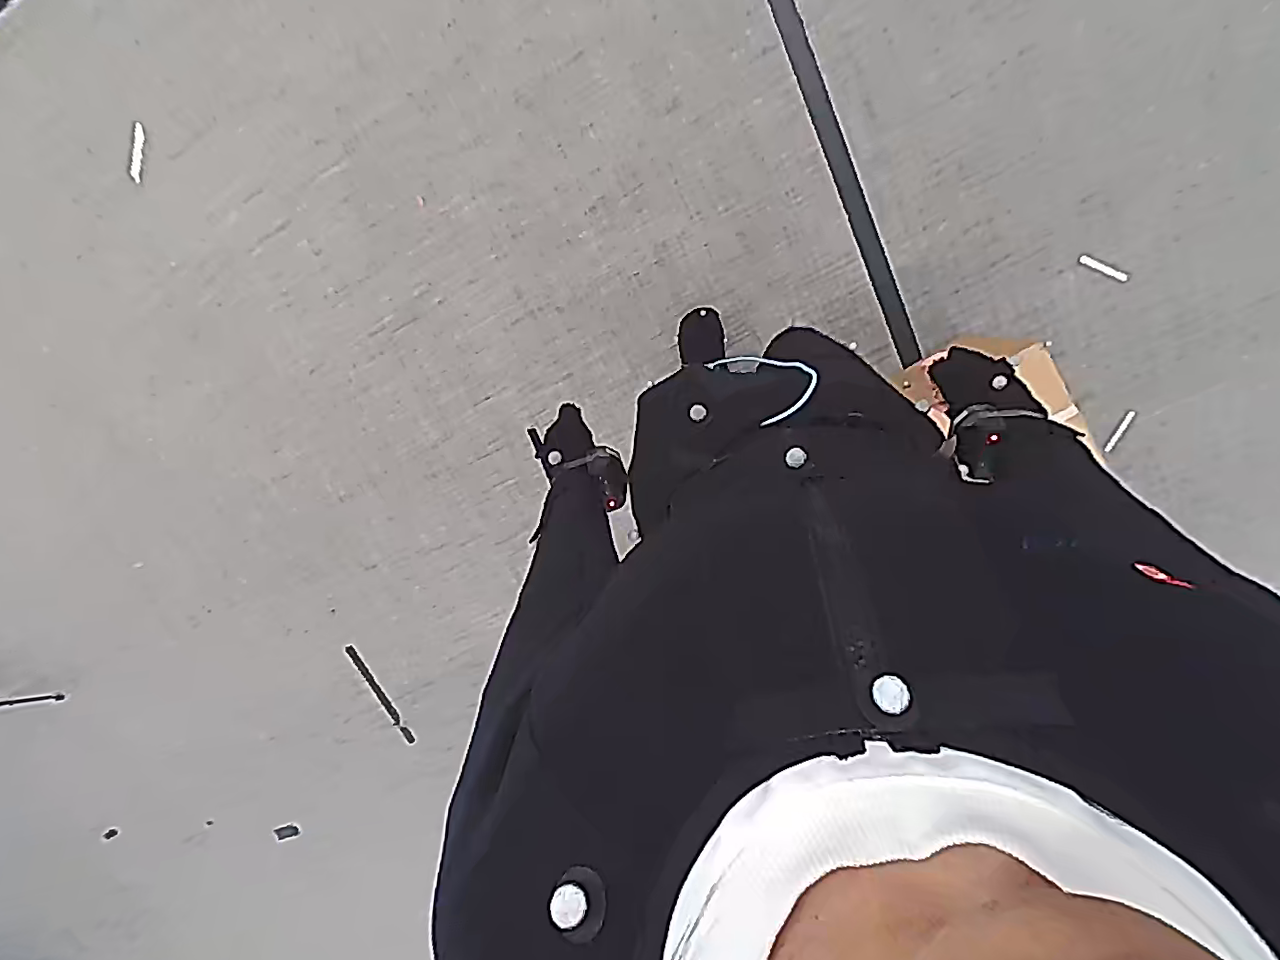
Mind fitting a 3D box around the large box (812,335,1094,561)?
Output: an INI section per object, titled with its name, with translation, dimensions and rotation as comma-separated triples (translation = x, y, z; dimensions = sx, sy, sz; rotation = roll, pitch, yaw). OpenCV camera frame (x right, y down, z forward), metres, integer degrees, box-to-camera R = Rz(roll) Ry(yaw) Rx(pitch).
[large box]
translation = 0.676, -0.088, 1.240
dimensions = 0.408, 0.320, 0.320
rotation = -33, 103, 12
